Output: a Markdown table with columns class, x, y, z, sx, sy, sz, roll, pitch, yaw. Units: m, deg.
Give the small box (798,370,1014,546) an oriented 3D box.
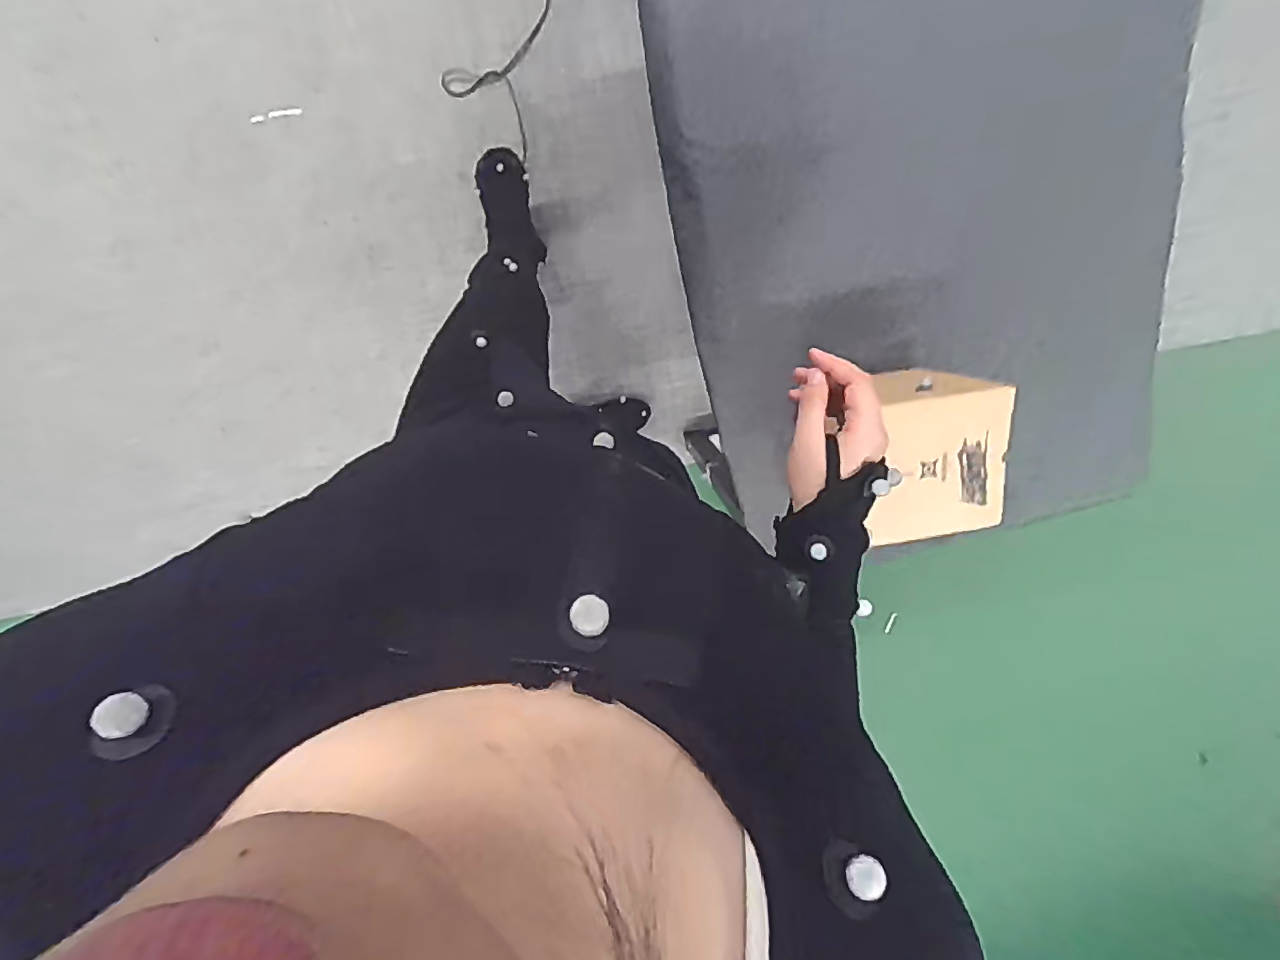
| class | x | y | z | sx | sy | sz | roll | pitch | yaw |
| --- | --- | --- | --- | --- | --- | --- | --- | --- | --- |
| small box | 0.312 | -0.038 | 0.668 | 0.179 | 0.176 | 0.168 | -9 | 108 | -5 |
